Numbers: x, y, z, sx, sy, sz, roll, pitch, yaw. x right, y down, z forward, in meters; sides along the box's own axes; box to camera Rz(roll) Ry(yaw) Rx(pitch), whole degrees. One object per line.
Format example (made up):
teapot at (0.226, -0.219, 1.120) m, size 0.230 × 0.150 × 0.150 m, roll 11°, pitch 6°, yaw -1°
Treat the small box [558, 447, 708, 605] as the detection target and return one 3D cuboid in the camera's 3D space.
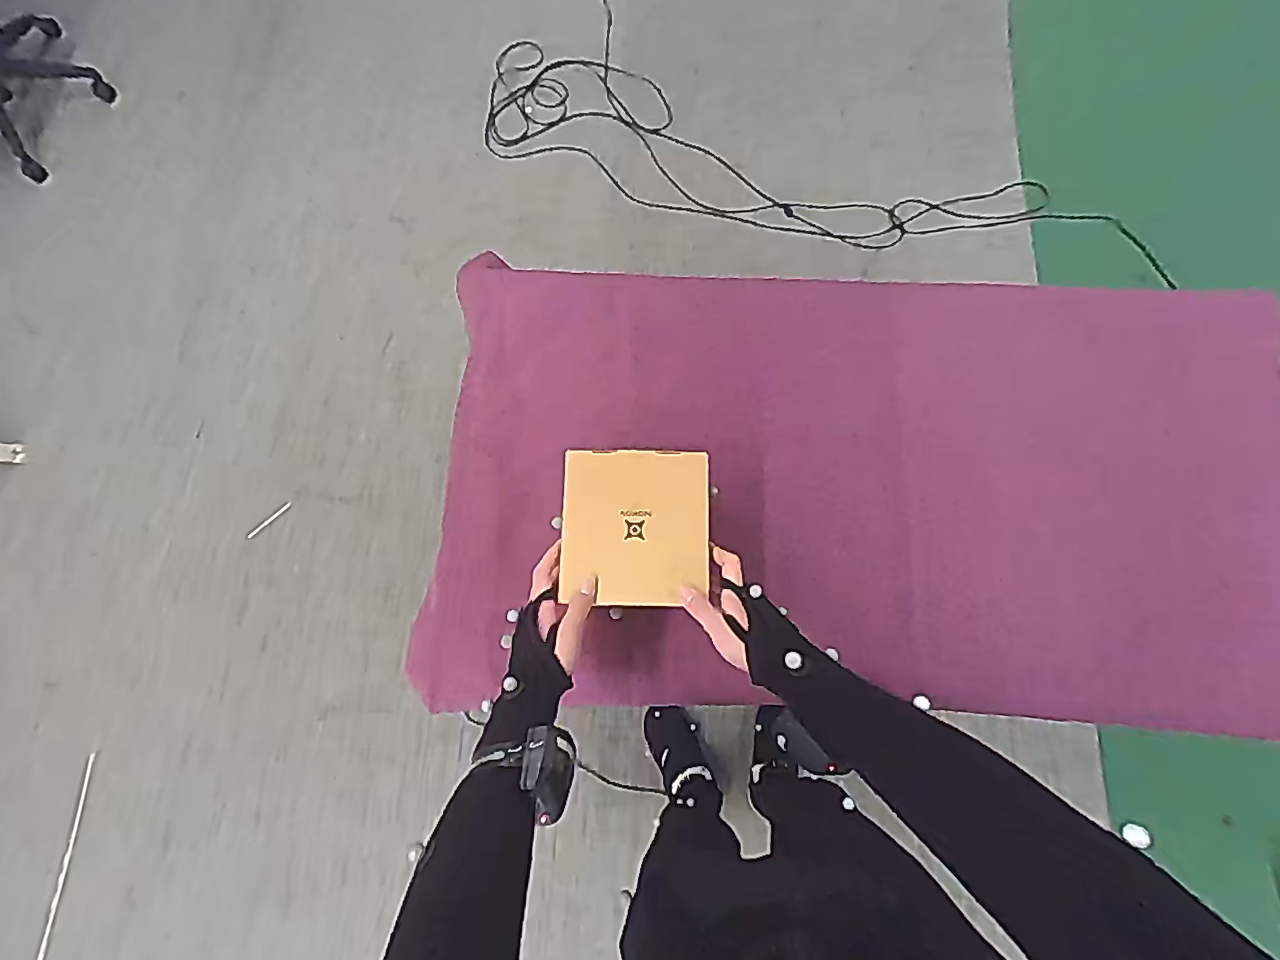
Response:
small box at (-0.003, 0.065, 0.679) m, size 0.168 × 0.176 × 0.179 m, roll 1°, pitch 77°, yaw 1°
